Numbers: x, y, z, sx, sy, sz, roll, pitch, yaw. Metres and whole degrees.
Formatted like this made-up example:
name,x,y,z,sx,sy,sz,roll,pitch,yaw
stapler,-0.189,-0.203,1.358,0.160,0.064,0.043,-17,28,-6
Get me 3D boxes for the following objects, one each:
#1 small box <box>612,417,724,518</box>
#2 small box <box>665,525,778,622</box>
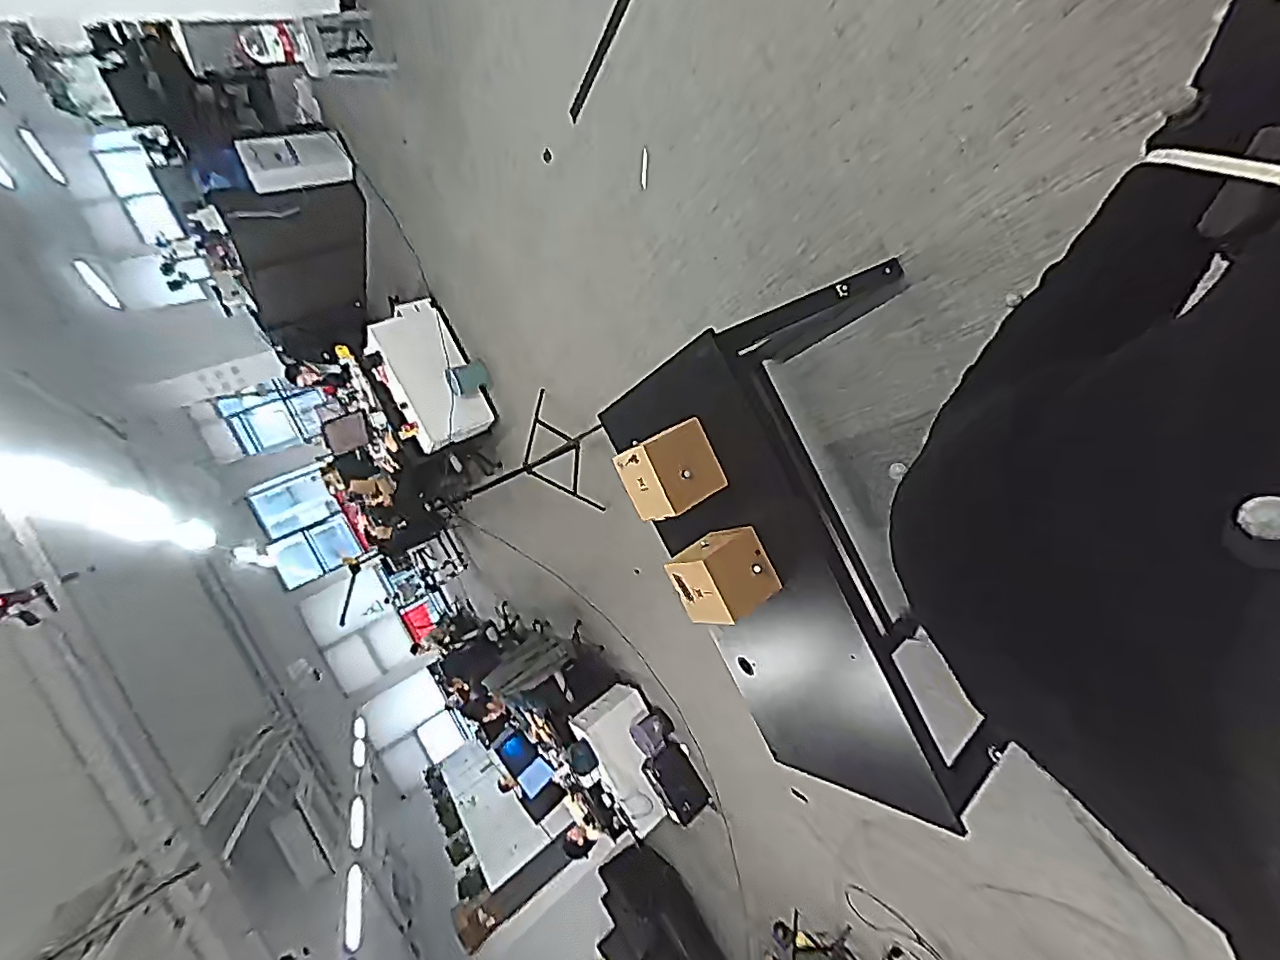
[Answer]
name,x,y,z,sx,sy,sz,roll,pitch,yaw
small box,0.069,-0.027,1.287,0.168,0.176,0.179,-16,102,61
small box,0.196,0.224,1.305,0.168,0.176,0.179,63,151,-3
